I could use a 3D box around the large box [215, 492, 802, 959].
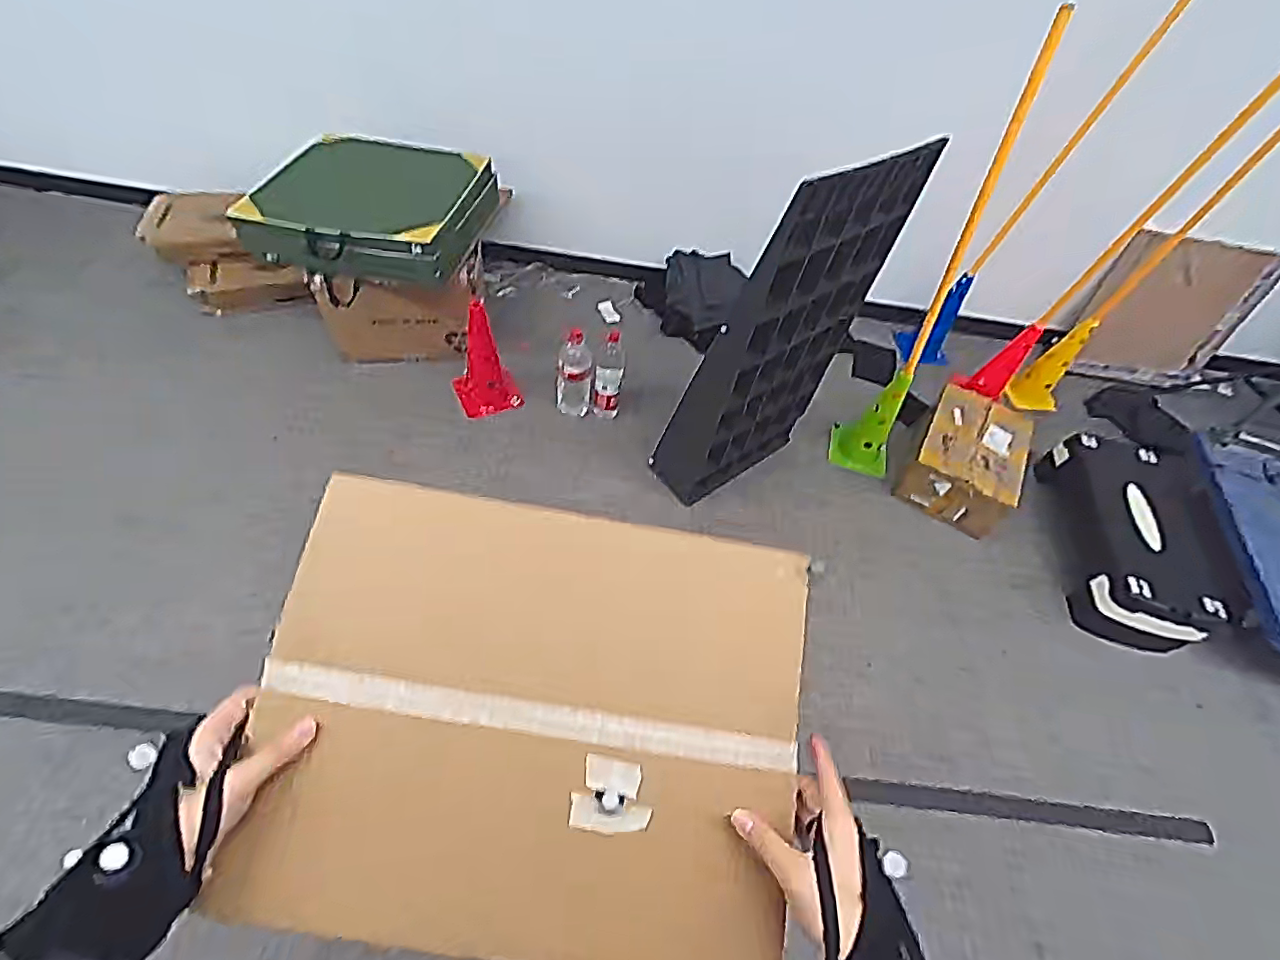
[{"bbox_3d":[-0.090,0.225,0.562,0.408,0.320,0.320,10,74,-3],"label":"large box"}]
